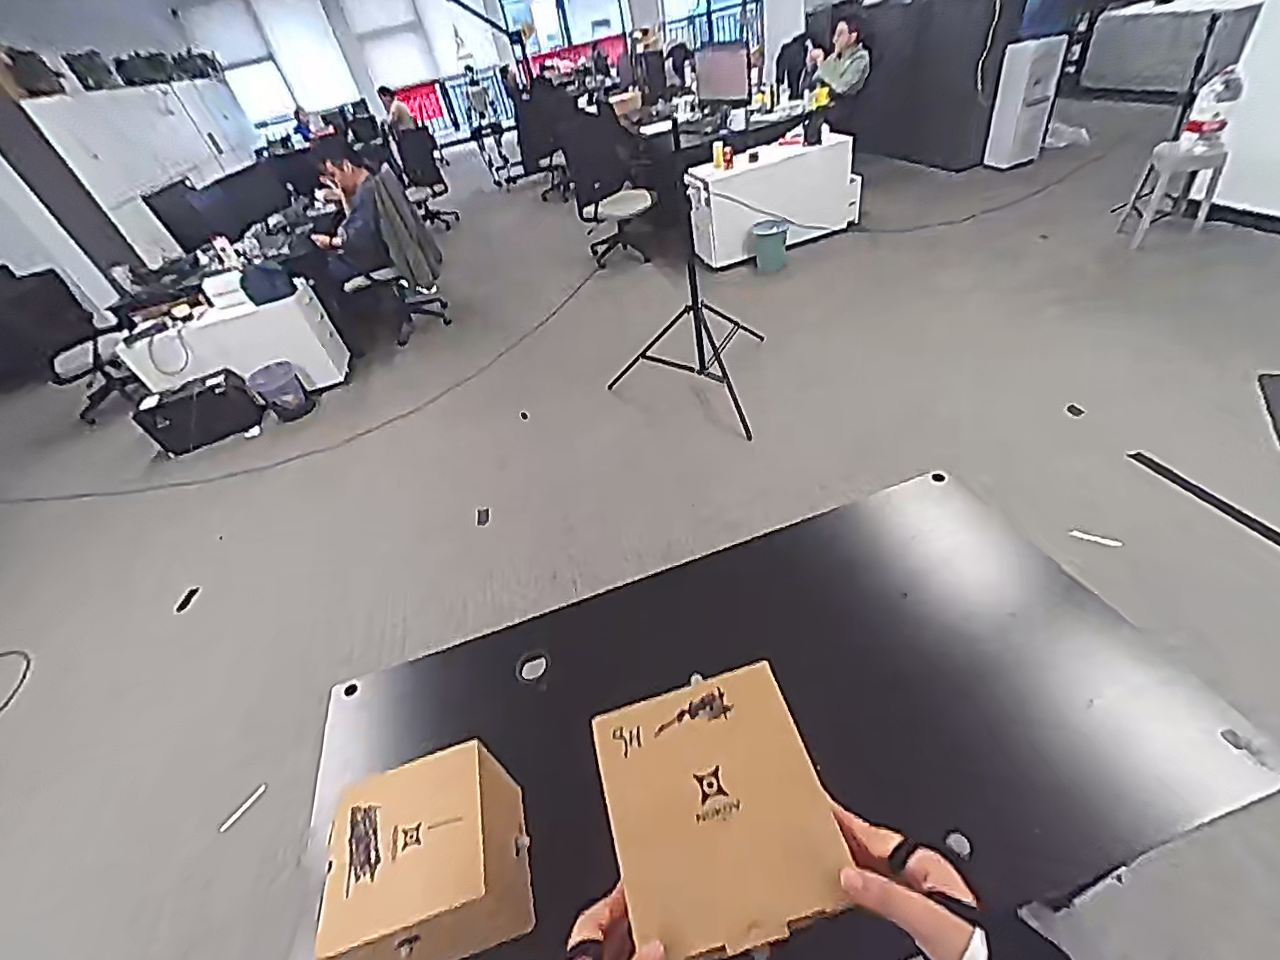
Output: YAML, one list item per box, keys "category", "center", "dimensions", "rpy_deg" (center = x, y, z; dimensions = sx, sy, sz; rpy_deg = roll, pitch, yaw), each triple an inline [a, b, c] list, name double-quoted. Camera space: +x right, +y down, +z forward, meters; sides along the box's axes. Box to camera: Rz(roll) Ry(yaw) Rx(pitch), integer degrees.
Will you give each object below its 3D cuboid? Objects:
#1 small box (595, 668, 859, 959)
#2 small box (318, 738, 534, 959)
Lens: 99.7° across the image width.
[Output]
- category: "small box"
  center: [0.072, 0.302, 0.490]
  dimensions: [0.168, 0.176, 0.179]
  rpy_deg: [-17, 52, -2]
- category: "small box"
  center: [-0.243, 0.452, 0.652]
  dimensions: [0.179, 0.176, 0.168]
  rpy_deg: [-17, 41, -6]
